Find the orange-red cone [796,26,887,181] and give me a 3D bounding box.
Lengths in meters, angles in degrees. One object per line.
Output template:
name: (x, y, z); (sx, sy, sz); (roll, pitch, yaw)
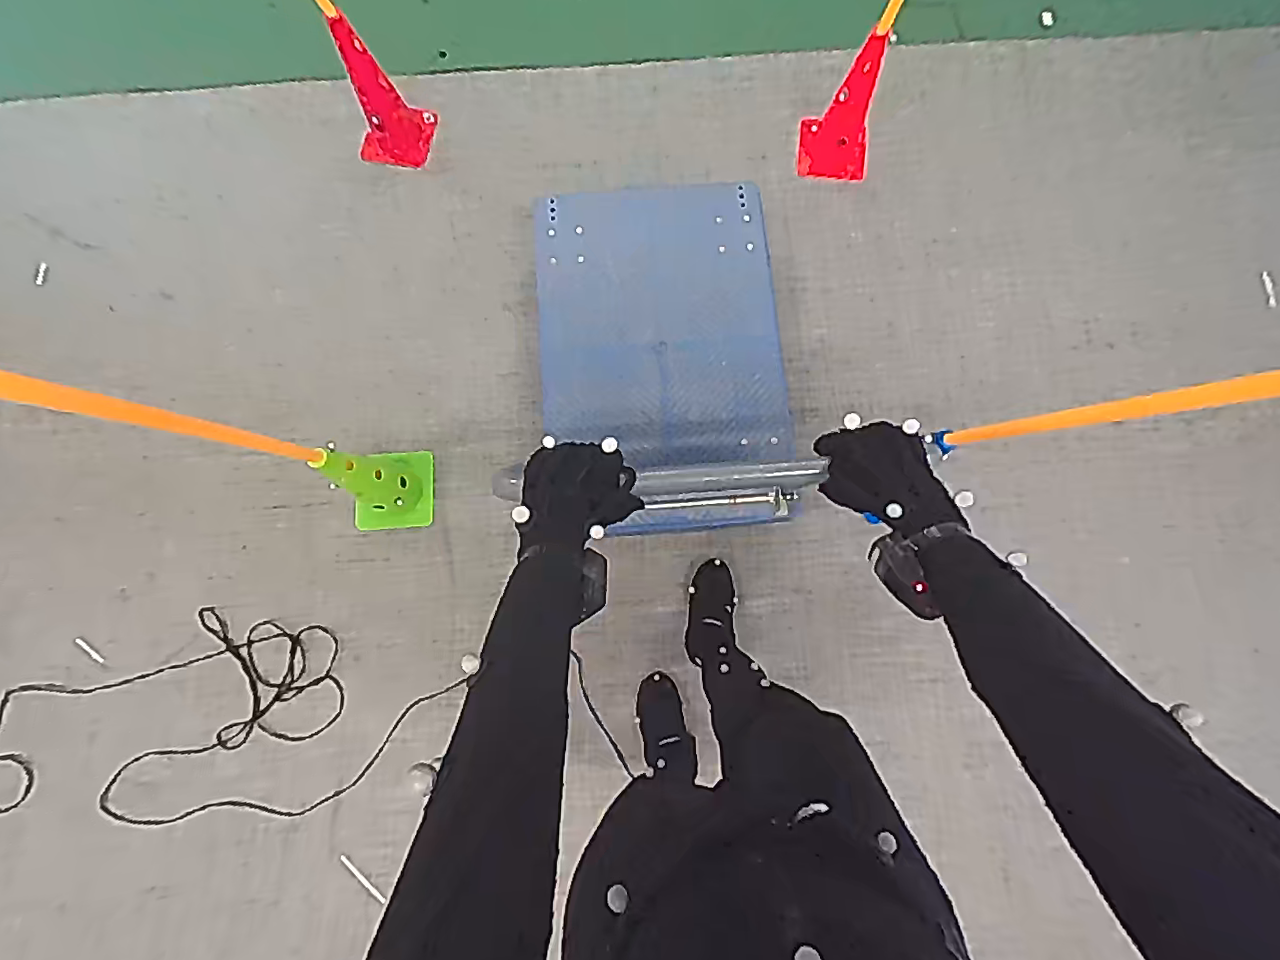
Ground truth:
orange-red cone: (0.563, -1.009, 1.432); (0.198, 0.360, 0.199); (8, 79, 3)
